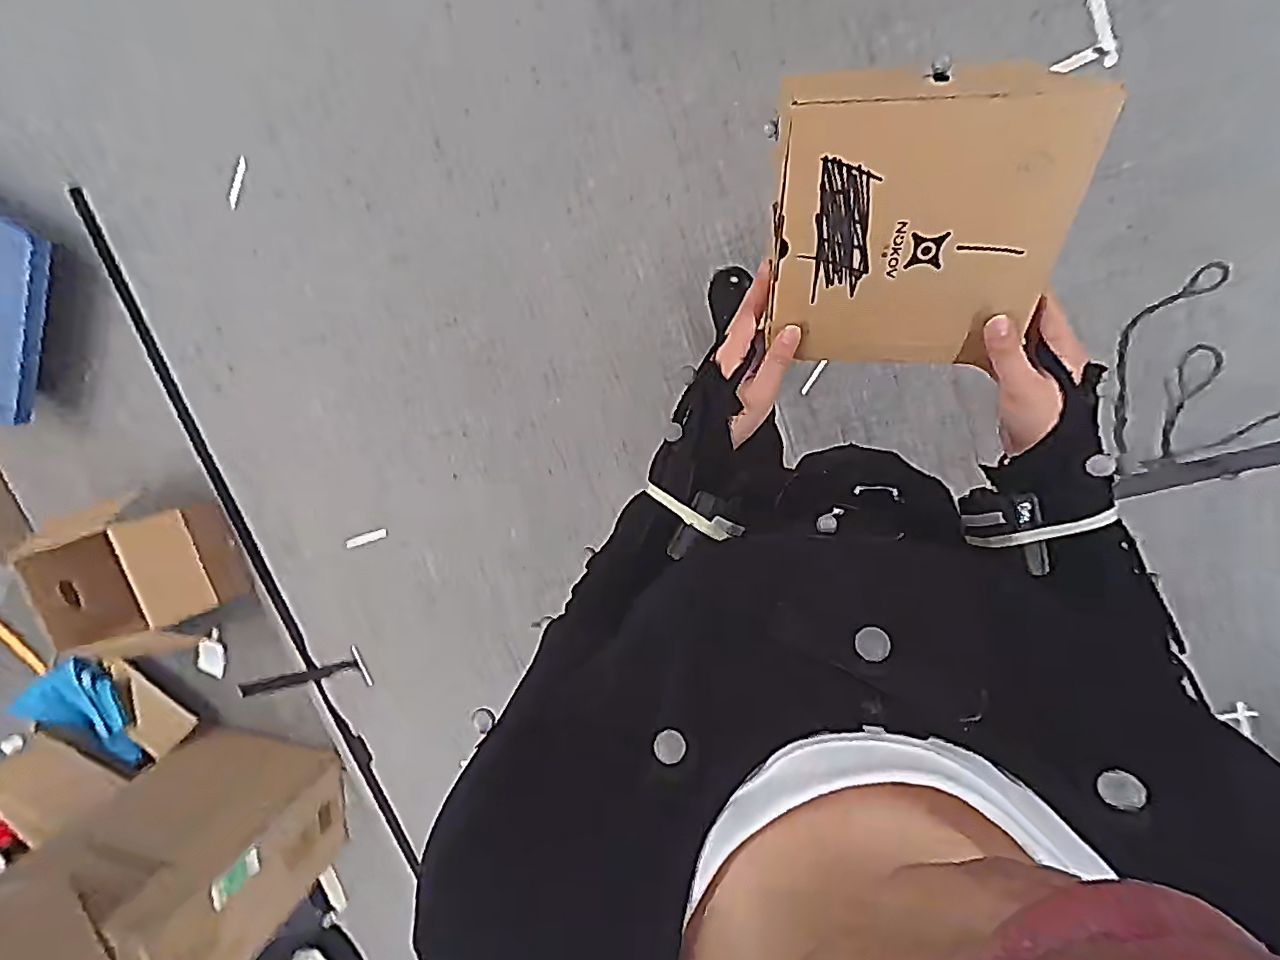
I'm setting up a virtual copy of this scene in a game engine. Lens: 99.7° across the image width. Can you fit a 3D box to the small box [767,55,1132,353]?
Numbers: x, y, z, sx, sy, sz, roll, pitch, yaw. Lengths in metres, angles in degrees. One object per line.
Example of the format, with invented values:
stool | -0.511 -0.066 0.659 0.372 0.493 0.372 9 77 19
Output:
small box | 0.194 -0.213 0.411 0.179 0.176 0.168 4 131 9
